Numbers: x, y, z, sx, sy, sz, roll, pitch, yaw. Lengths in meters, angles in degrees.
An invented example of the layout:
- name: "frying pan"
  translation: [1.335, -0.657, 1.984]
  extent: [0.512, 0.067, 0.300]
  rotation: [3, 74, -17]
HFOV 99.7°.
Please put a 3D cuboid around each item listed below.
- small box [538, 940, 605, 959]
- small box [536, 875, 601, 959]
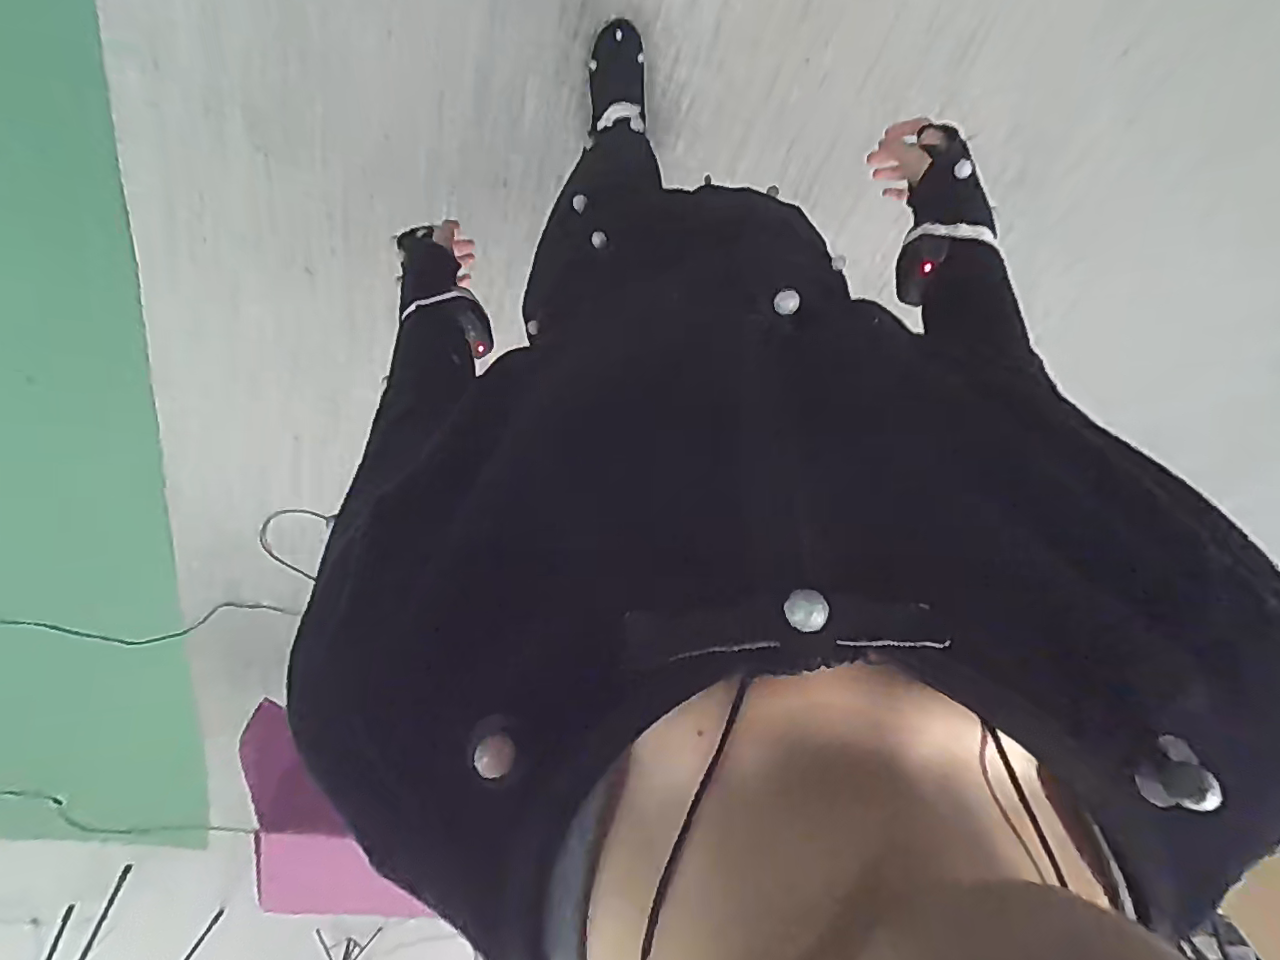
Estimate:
- name: "small box"
  translation: [-0.199, 1.411, 1.507]
  extent: [0.179, 0.176, 0.168]
  rotation: [10, 124, -11]
- name: "small box"
  translation: [-0.218, 1.335, 1.653]
  extent: [0.168, 0.176, 0.179]
  rotation: [11, 125, -10]
